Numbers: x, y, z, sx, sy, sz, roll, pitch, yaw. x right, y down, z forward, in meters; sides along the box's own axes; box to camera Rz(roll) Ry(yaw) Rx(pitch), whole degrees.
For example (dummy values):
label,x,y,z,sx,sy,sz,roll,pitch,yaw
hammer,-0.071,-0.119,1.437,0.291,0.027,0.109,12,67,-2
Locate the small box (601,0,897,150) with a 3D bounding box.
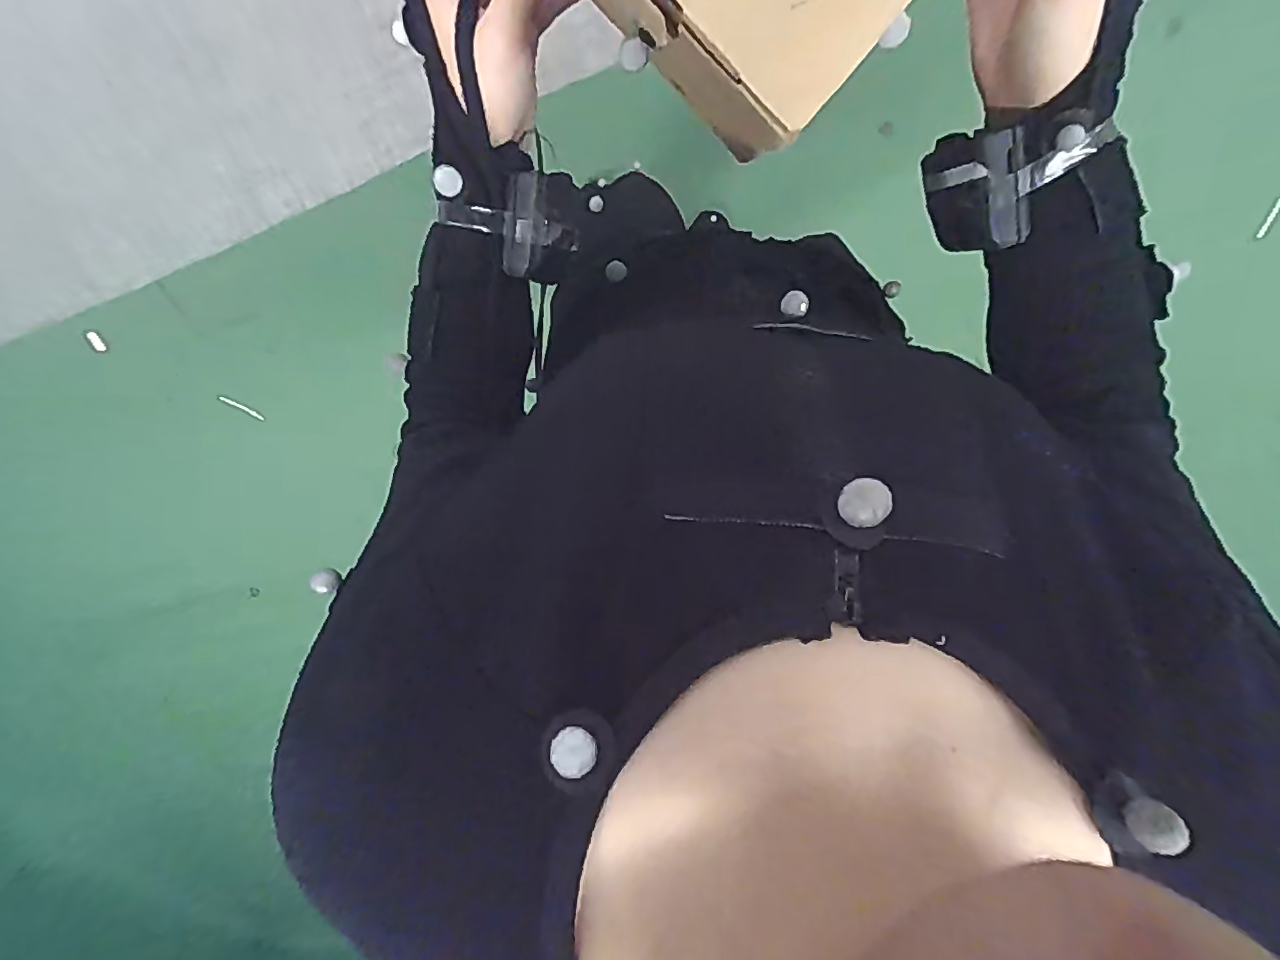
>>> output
label,x,y,z,sx,sy,sz,roll,pitch,yaw
small box,0.060,-0.280,0.240,0.168,0.176,0.179,39,115,-15
